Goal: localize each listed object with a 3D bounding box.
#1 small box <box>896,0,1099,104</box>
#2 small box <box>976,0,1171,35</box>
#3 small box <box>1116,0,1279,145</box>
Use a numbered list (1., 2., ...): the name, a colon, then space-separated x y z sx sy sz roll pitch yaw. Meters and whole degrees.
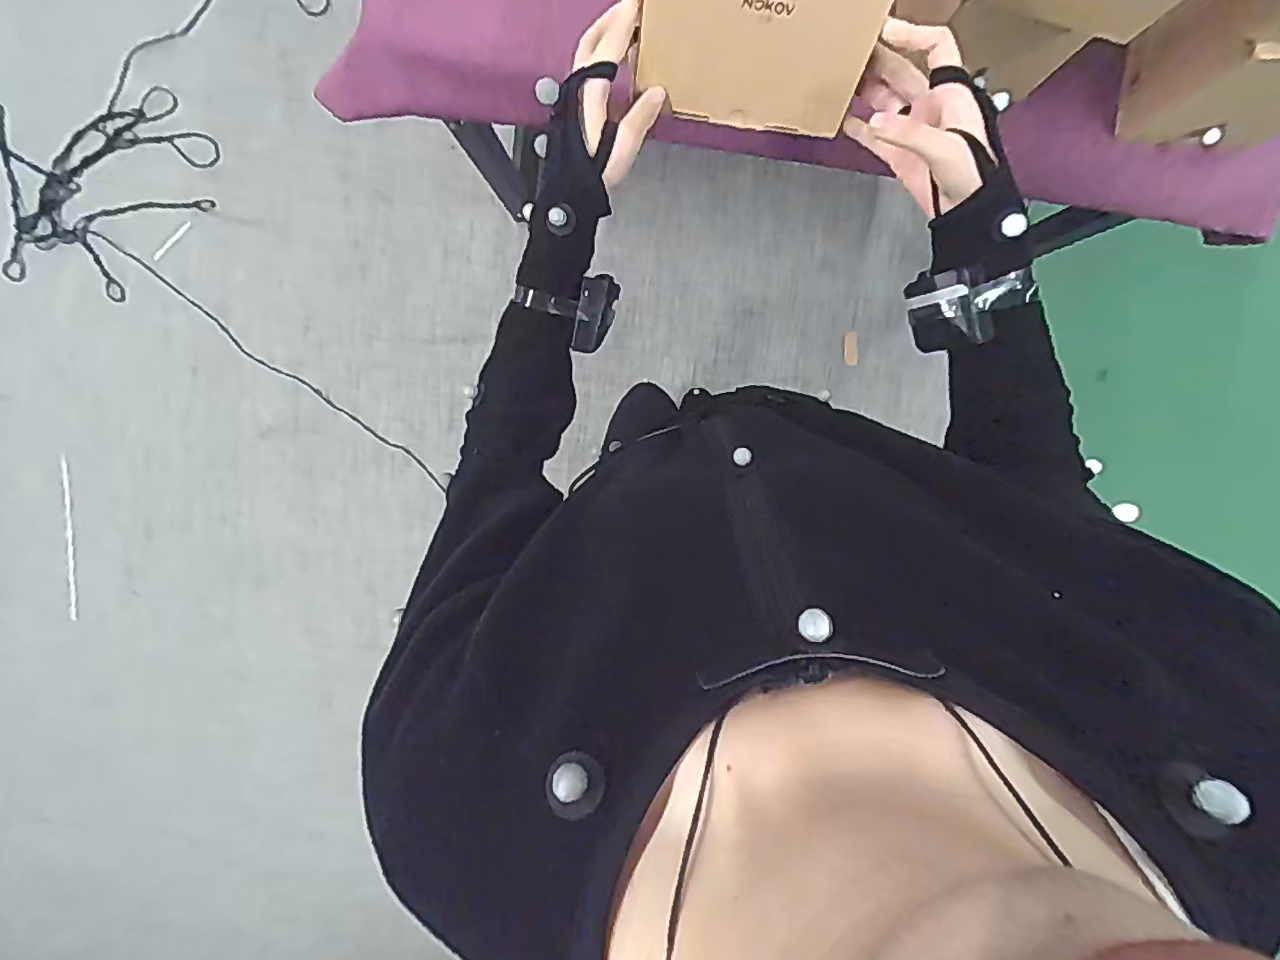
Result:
1. small box: 0.400 -0.555 0.594 0.168 0.176 0.179 1 97 2
2. small box: 0.408 -0.511 0.433 0.179 0.176 0.168 16 96 1
3. small box: 0.690 -0.494 0.592 0.179 0.176 0.168 4 97 1
